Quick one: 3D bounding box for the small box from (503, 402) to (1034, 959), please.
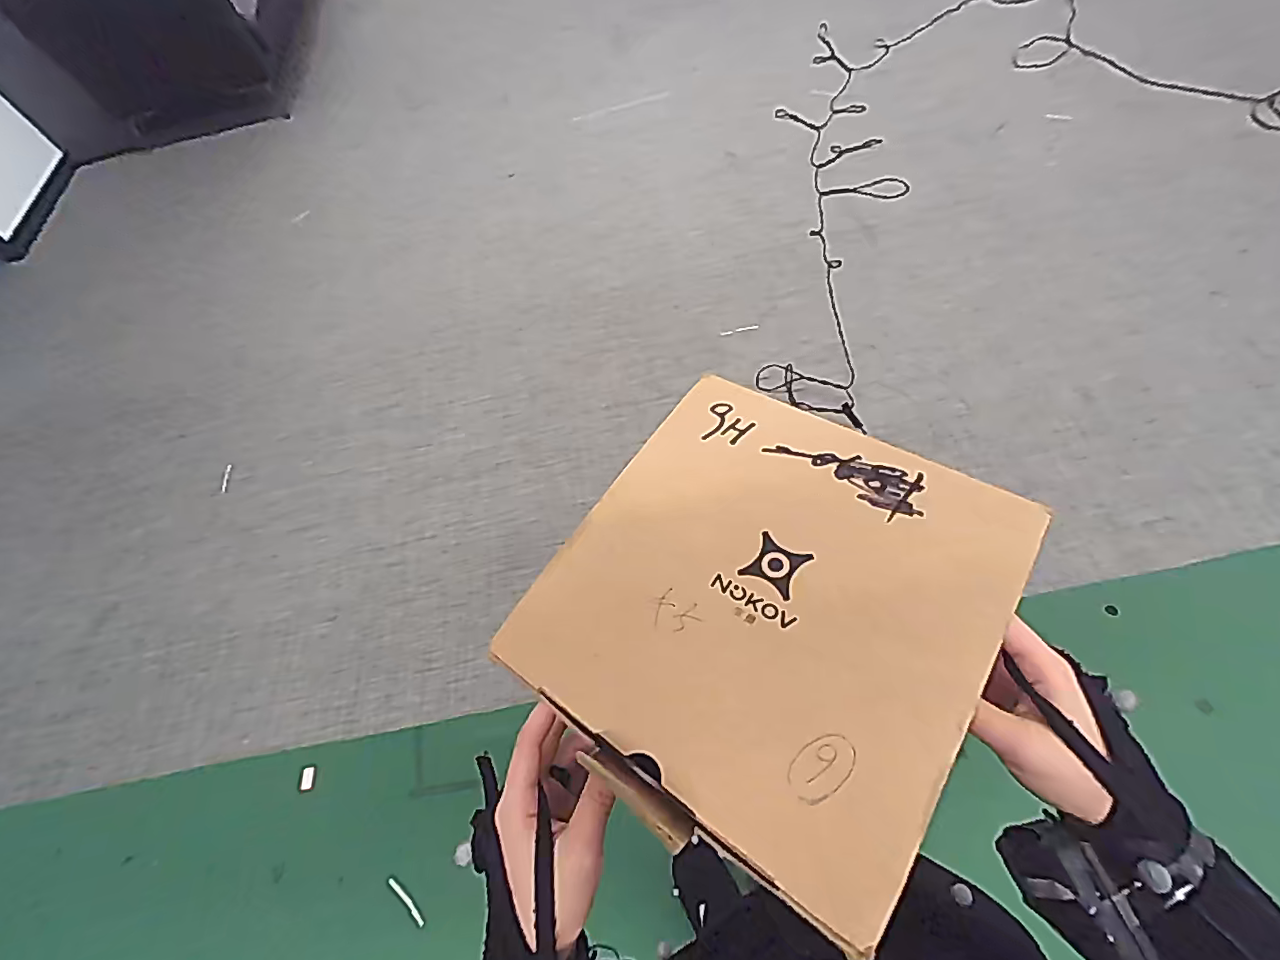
[{"bbox_3d":[0.066,0.096,0.296,0.168,0.176,0.179,28,67,25],"label":"small box"}]
